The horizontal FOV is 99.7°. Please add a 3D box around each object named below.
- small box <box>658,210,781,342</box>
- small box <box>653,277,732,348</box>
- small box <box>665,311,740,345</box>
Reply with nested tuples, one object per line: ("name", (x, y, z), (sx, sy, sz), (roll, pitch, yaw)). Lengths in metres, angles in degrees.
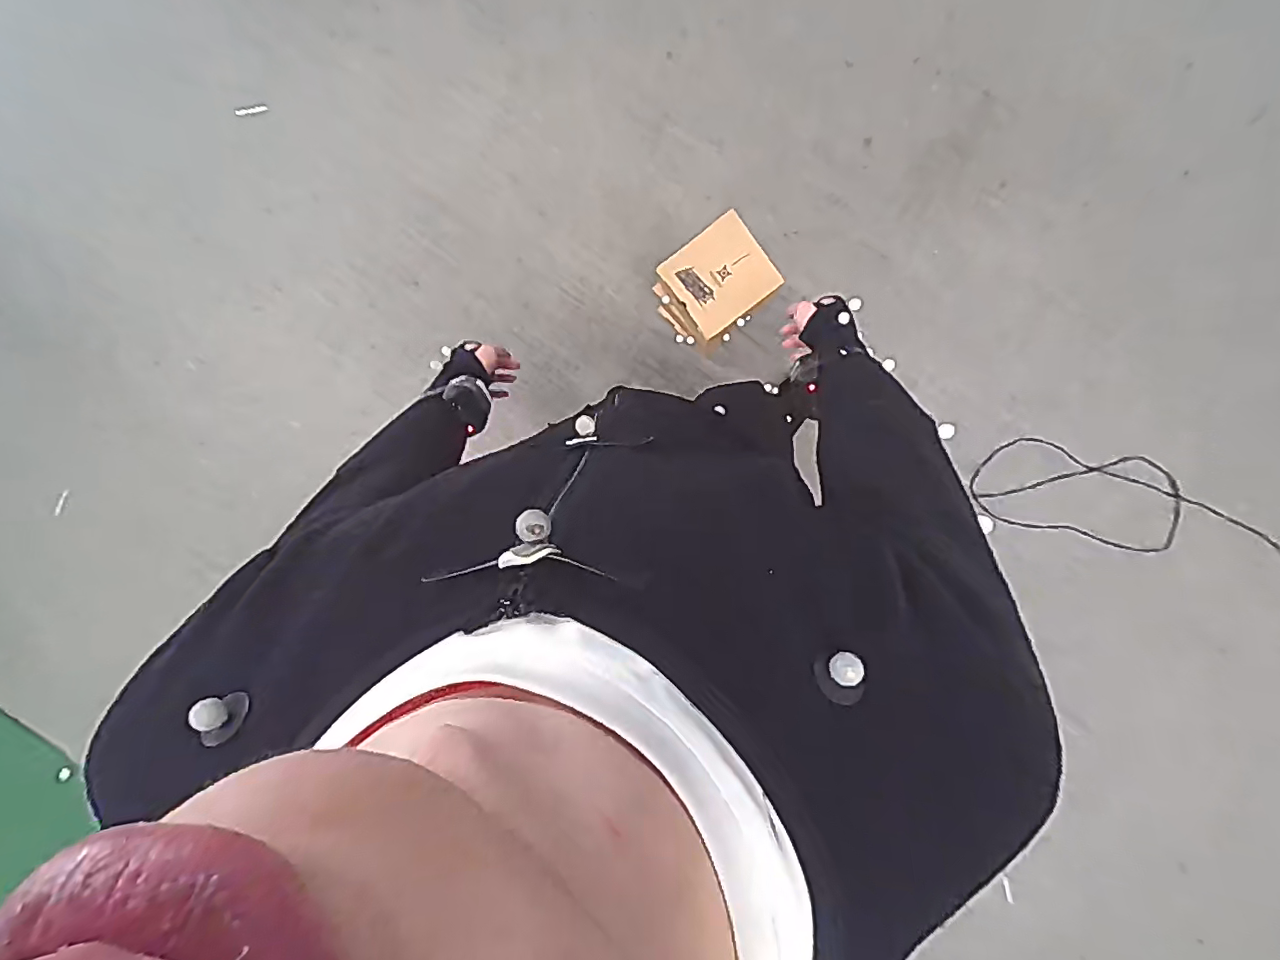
("small box", (0.156, -0.390, 1.075), (0.179, 0.176, 0.168), (-31, 95, 10))
("small box", (0.154, -0.420, 1.240), (0.168, 0.176, 0.179), (-42, 90, 10))
("small box", (0.175, -0.451, 1.391), (0.179, 0.176, 0.168), (13, 98, 7))
